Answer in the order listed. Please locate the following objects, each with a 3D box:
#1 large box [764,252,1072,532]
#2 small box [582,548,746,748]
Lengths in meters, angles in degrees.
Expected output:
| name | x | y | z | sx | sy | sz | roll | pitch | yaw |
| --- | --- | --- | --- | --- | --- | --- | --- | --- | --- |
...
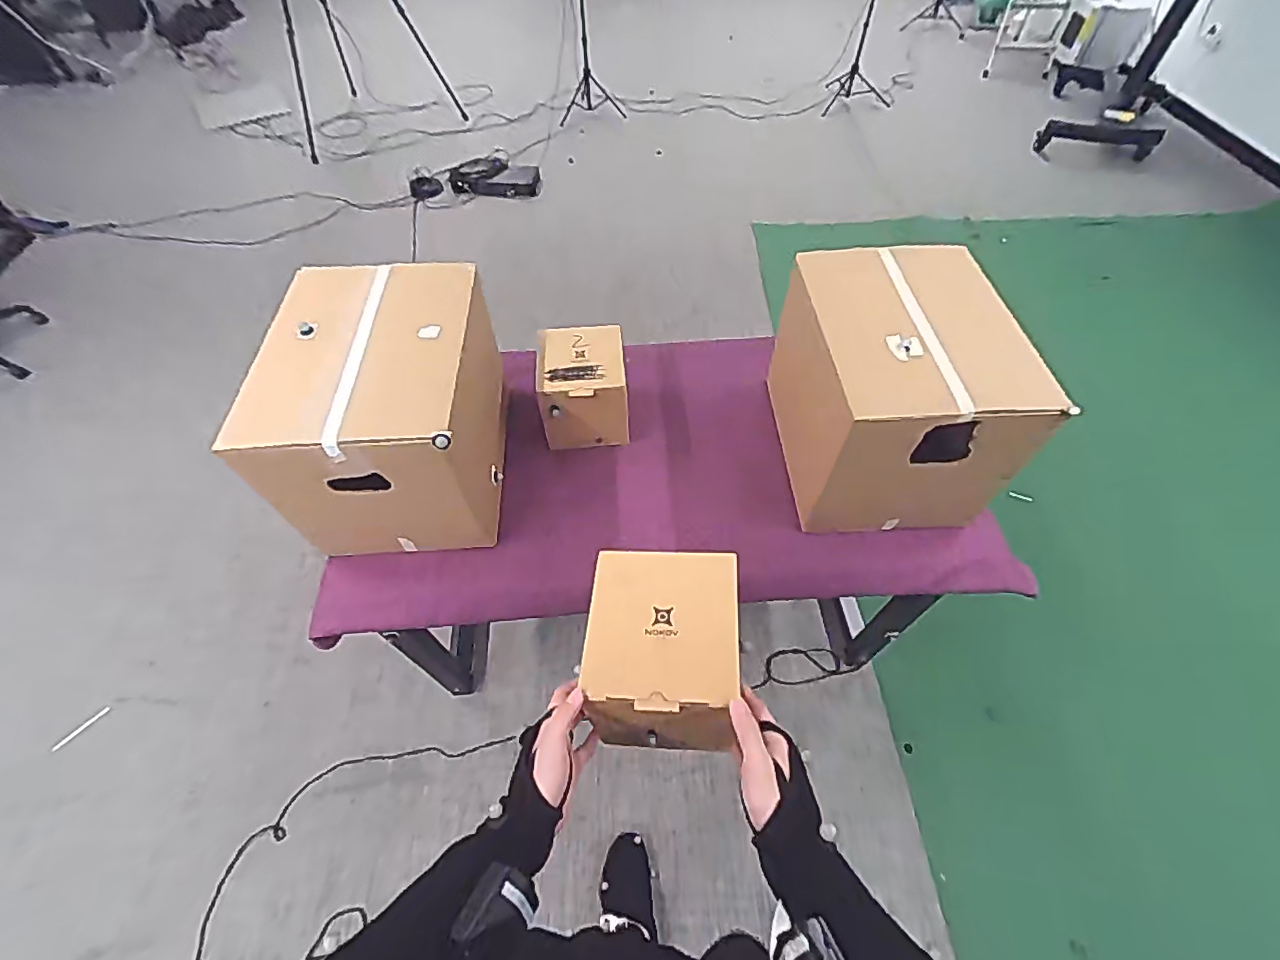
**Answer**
| name | x | y | z | sx | sy | sz | roll | pitch | yaw |
| --- | --- | --- | --- | --- | --- | --- | --- | --- | --- |
| large box | 0.438 | -0.157 | 0.980 | 0.320 | 0.320 | 0.408 | -3 | 56 | -1 |
| small box | 0.036 | 0.200 | 0.645 | 0.168 | 0.176 | 0.179 | 1 | 51 | 7 |
